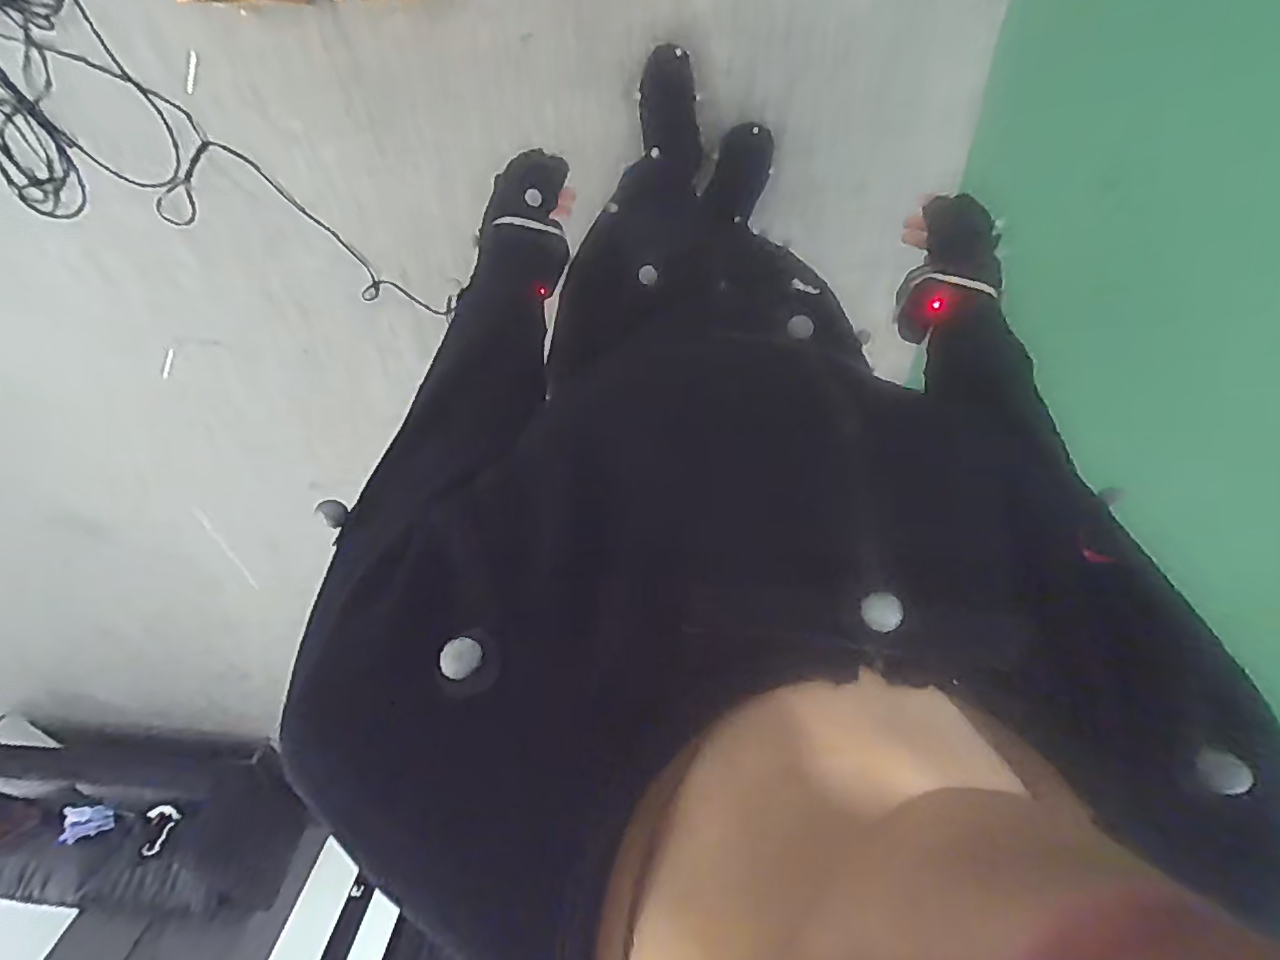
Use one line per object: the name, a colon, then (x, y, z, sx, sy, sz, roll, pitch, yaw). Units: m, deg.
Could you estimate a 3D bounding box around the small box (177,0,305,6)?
small box: (-0.757, -0.984, 0.986, 0.168, 0.176, 0.179, 4, 128, 6)
